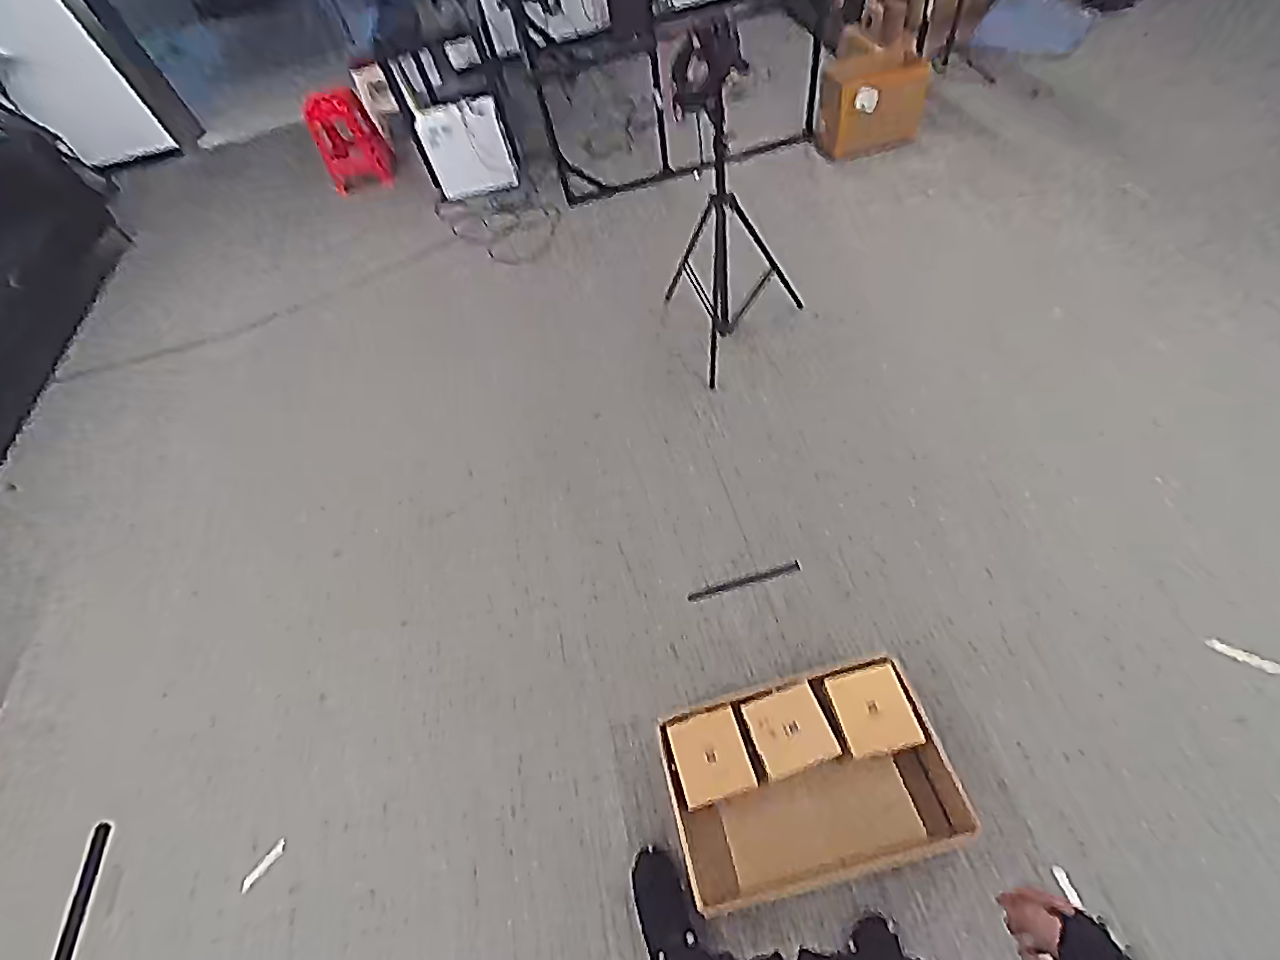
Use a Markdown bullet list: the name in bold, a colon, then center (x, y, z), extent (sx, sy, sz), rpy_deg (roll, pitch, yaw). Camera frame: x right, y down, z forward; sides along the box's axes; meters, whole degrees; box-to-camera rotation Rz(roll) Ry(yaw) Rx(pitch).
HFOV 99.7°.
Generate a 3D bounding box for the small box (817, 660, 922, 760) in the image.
- **small box**: center (0.545, 0.563, 1.314), extent (0.168, 0.176, 0.179), rpy_deg (-16, 58, 1)
